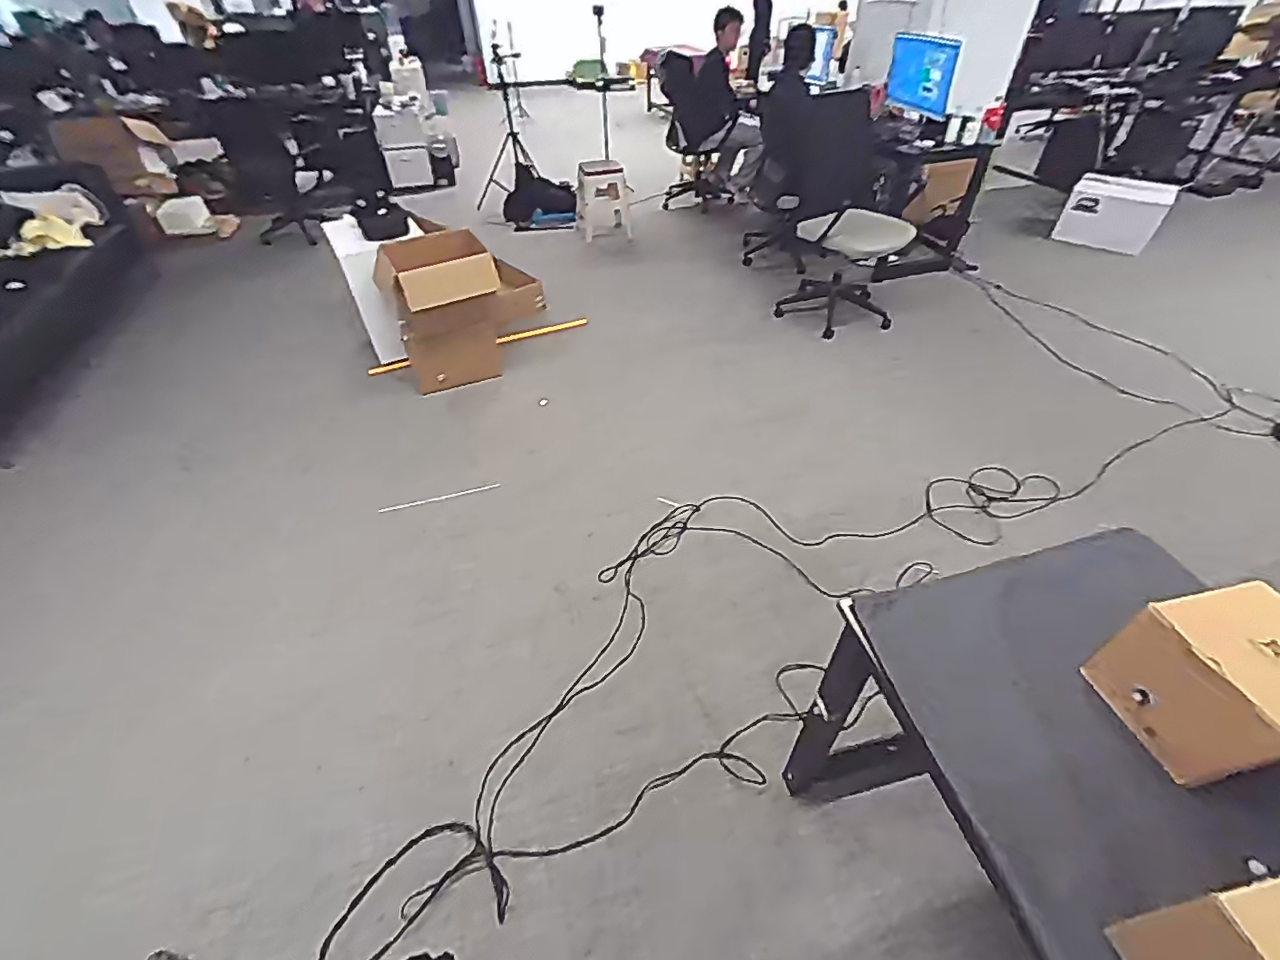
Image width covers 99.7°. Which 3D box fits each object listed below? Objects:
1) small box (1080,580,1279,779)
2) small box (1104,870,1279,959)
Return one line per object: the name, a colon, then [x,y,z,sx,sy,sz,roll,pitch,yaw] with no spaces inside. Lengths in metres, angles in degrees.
small box: [0.736,0.256,0.696,0.179,0.176,0.168,-9,44,-8]
small box: [0.586,0.460,0.480,0.179,0.176,0.168,-7,44,-8]
